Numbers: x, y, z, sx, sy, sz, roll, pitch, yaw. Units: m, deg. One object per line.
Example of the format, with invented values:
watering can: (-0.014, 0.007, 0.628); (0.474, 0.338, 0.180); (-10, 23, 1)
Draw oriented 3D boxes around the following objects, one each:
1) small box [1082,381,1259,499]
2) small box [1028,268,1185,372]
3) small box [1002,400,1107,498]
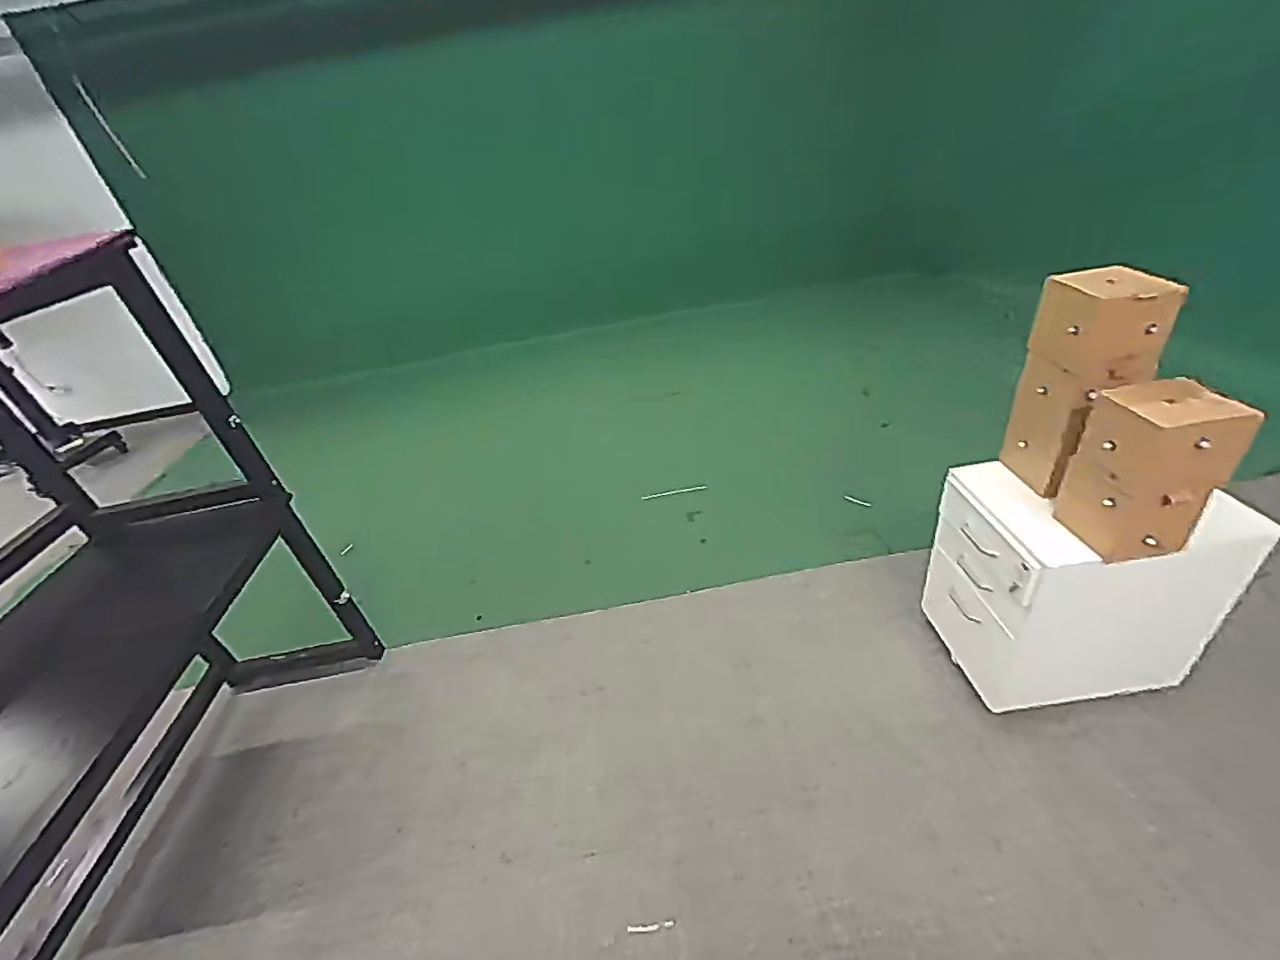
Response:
small box: (1.032, -0.078, 1.078); (0.179, 0.176, 0.168); (-8, 35, 2)
small box: (0.999, -0.343, 1.178); (0.168, 0.176, 0.179); (-8, 35, 1)
small box: (1.057, -0.078, 1.363); (0.168, 0.176, 0.179); (-10, 36, 1)
